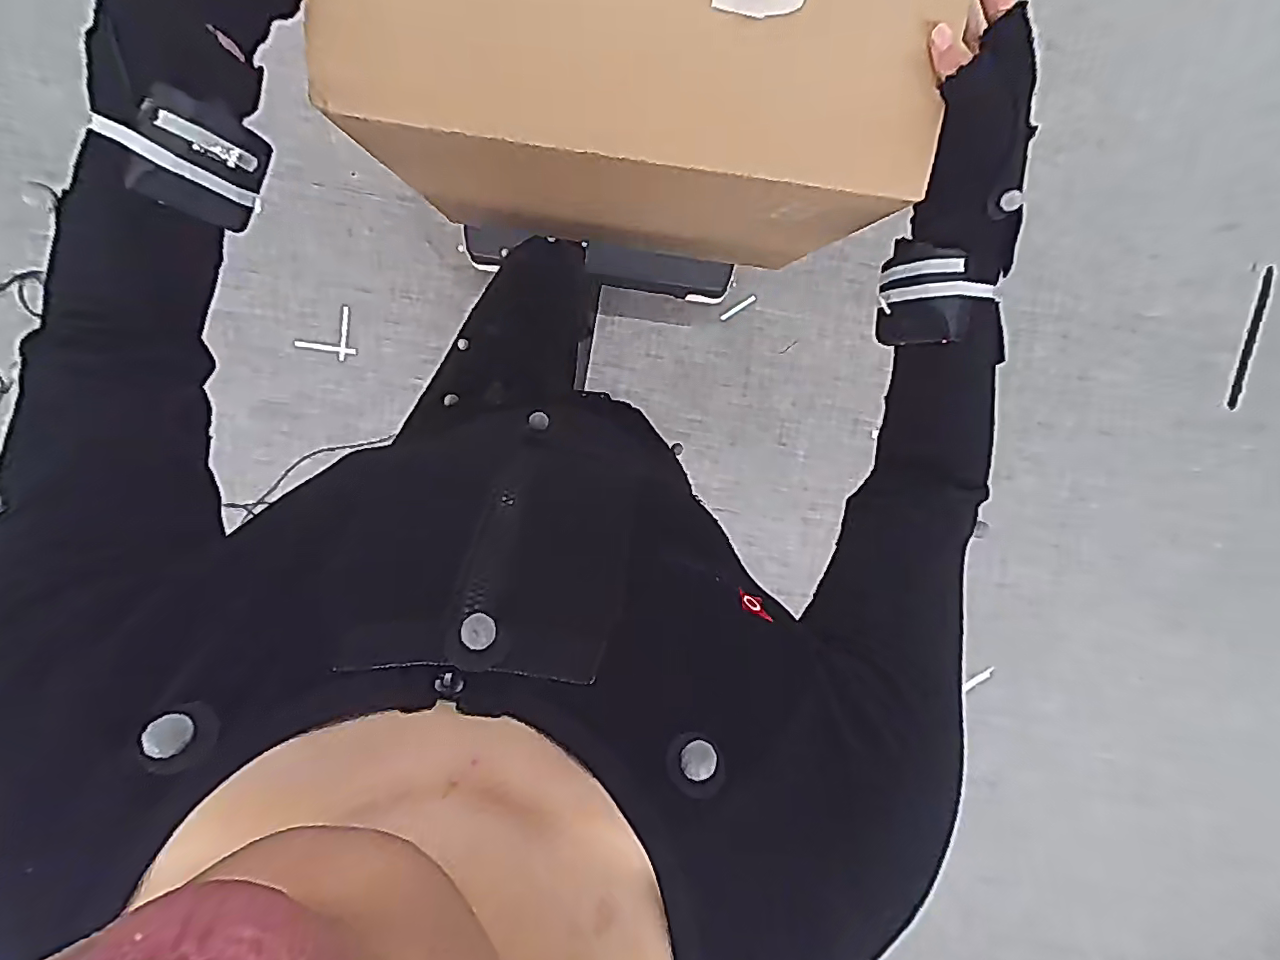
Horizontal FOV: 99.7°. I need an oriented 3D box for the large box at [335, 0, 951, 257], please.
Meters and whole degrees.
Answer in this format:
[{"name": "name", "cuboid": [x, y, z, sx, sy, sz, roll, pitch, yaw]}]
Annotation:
[{"name": "large box", "cuboid": [0.003, -0.406, 0.480, 0.408, 0.320, 0.320, 5, 103, -6]}]
